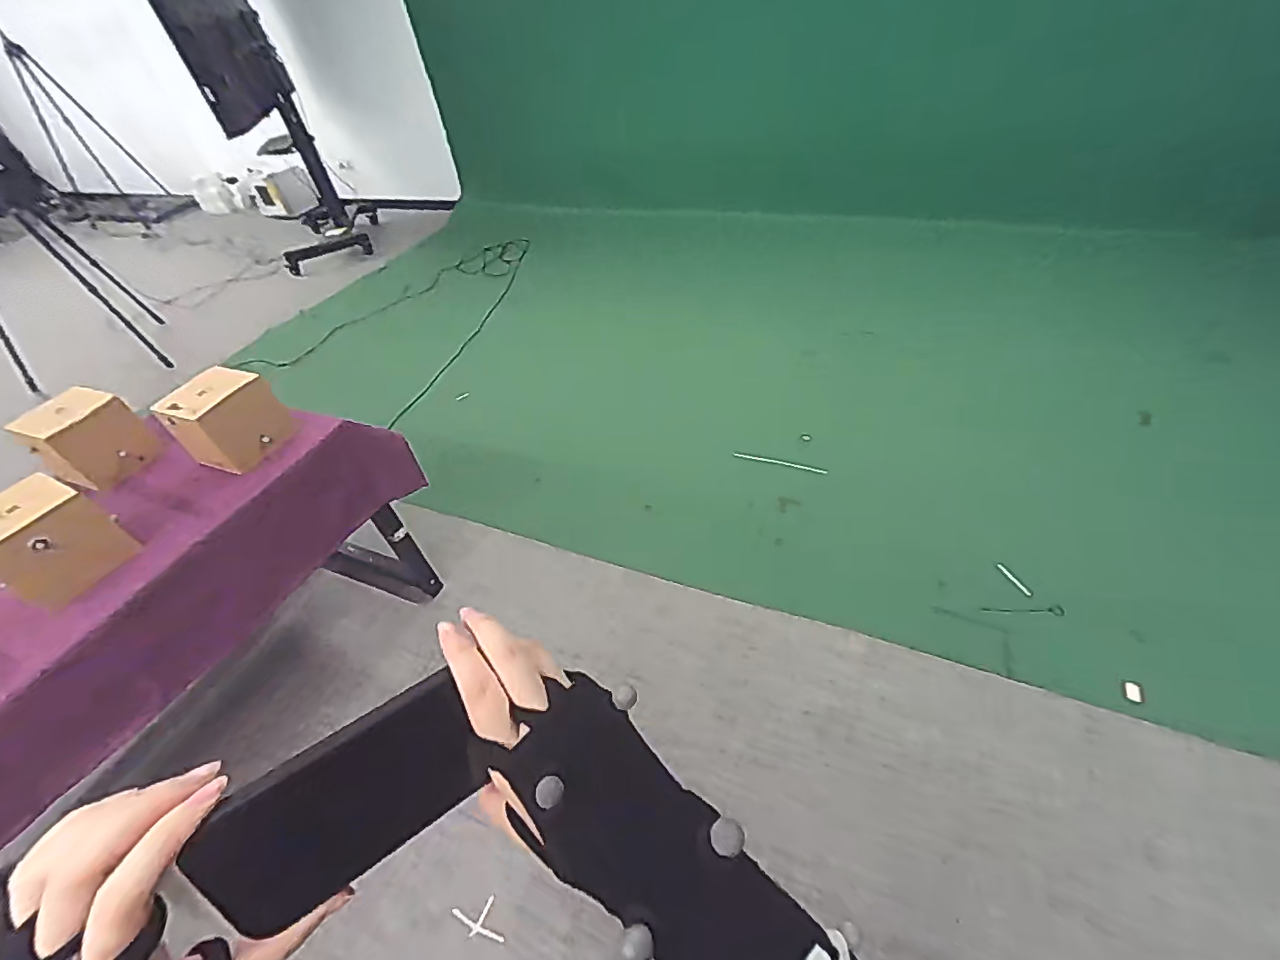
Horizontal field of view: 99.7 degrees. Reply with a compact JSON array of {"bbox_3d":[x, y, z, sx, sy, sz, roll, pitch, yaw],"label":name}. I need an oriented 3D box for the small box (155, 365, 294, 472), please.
[{"bbox_3d":[-0.965,-0.146,1.280,0.168,0.176,0.179,12,48,21],"label":"small box"}]

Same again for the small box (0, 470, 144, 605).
[{"bbox_3d":[-1.144,0.113,1.050,0.168,0.176,0.179,16,49,24],"label":"small box"}]

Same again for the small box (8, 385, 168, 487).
[{"bbox_3d":[-1.307,-0.105,1.294,0.179,0.176,0.168,12,49,19],"label":"small box"}]
